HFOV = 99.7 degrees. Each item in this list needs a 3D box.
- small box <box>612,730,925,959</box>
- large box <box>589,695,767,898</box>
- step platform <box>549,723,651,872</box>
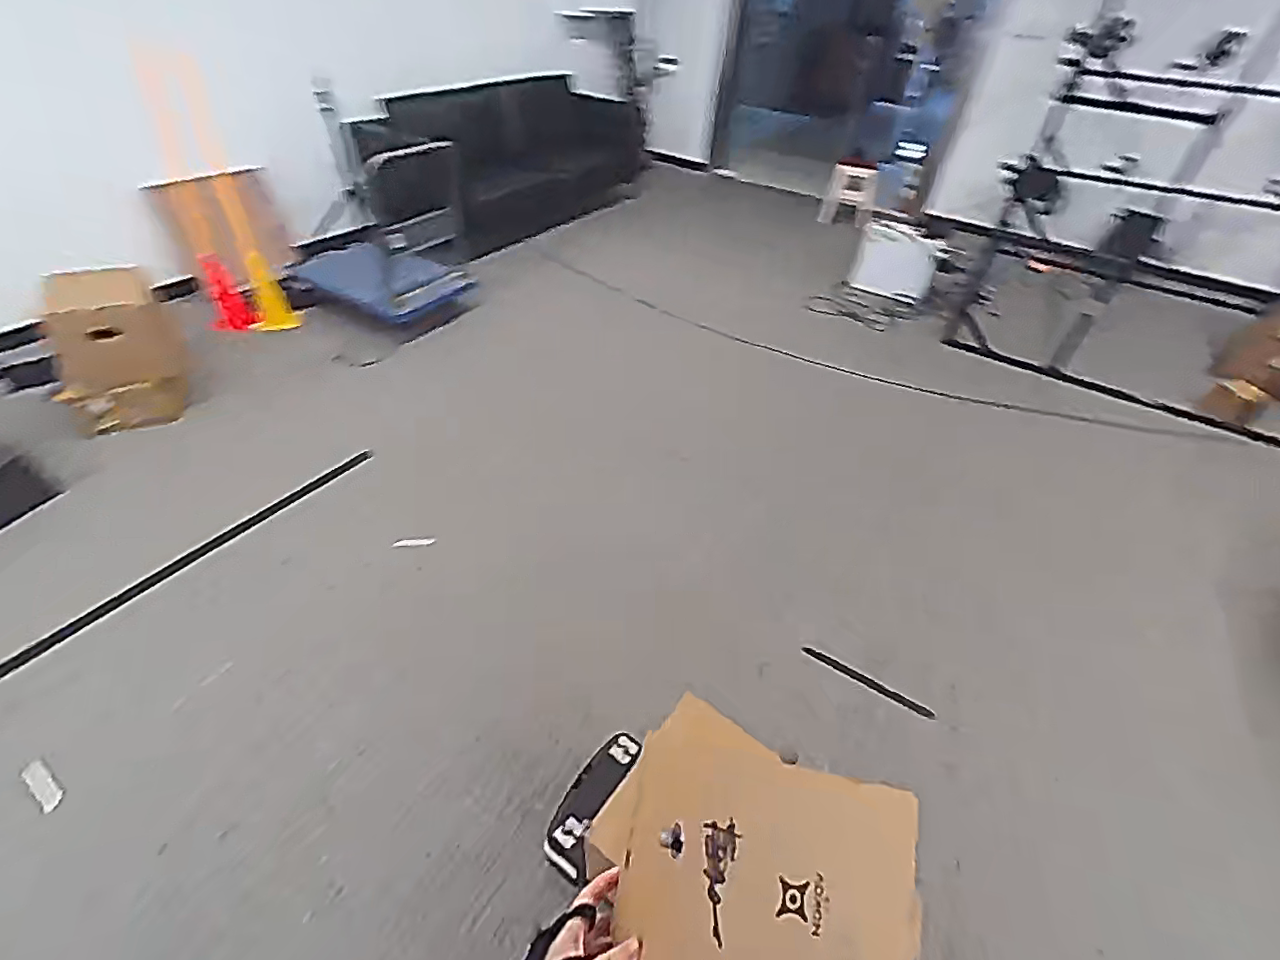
[{"bbox_3d":[0.093,0.303,0.427,0.179,0.176,0.168,17,65,-9],"label":"small box"},{"bbox_3d":[0.160,0.688,0.975,0.408,0.320,0.320,29,48,26],"label":"large box"},{"bbox_3d":[0.124,0.852,1.146,0.684,0.204,0.286,31,49,27],"label":"step platform"}]
